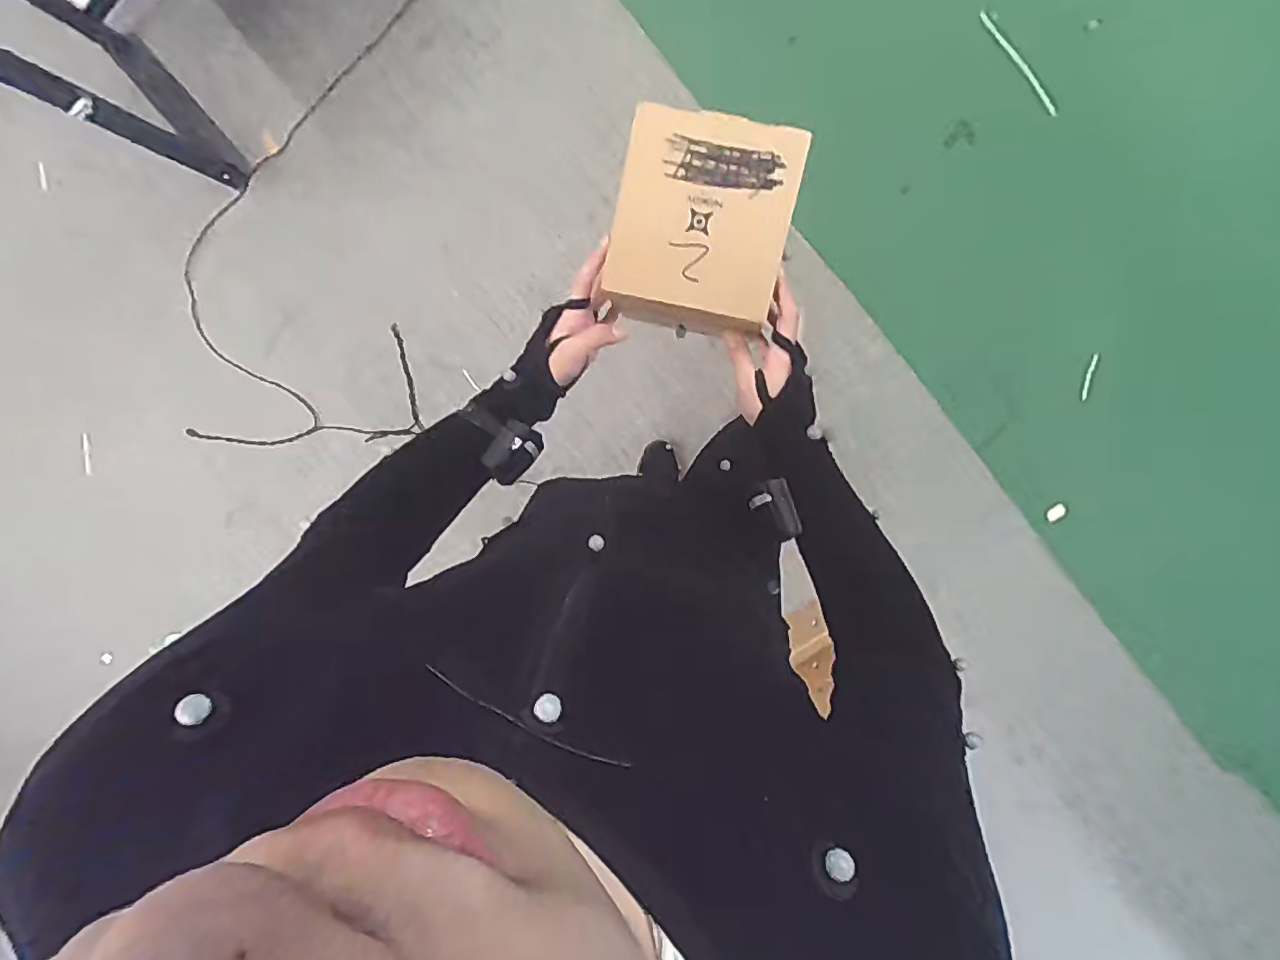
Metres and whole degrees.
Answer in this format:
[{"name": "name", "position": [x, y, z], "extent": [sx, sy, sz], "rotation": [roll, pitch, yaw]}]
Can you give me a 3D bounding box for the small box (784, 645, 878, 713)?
[{"name": "small box", "position": [0.526, 0.591, 1.517], "extent": [0.168, 0.176, 0.179], "rotation": [-38, 92, 11]}]
